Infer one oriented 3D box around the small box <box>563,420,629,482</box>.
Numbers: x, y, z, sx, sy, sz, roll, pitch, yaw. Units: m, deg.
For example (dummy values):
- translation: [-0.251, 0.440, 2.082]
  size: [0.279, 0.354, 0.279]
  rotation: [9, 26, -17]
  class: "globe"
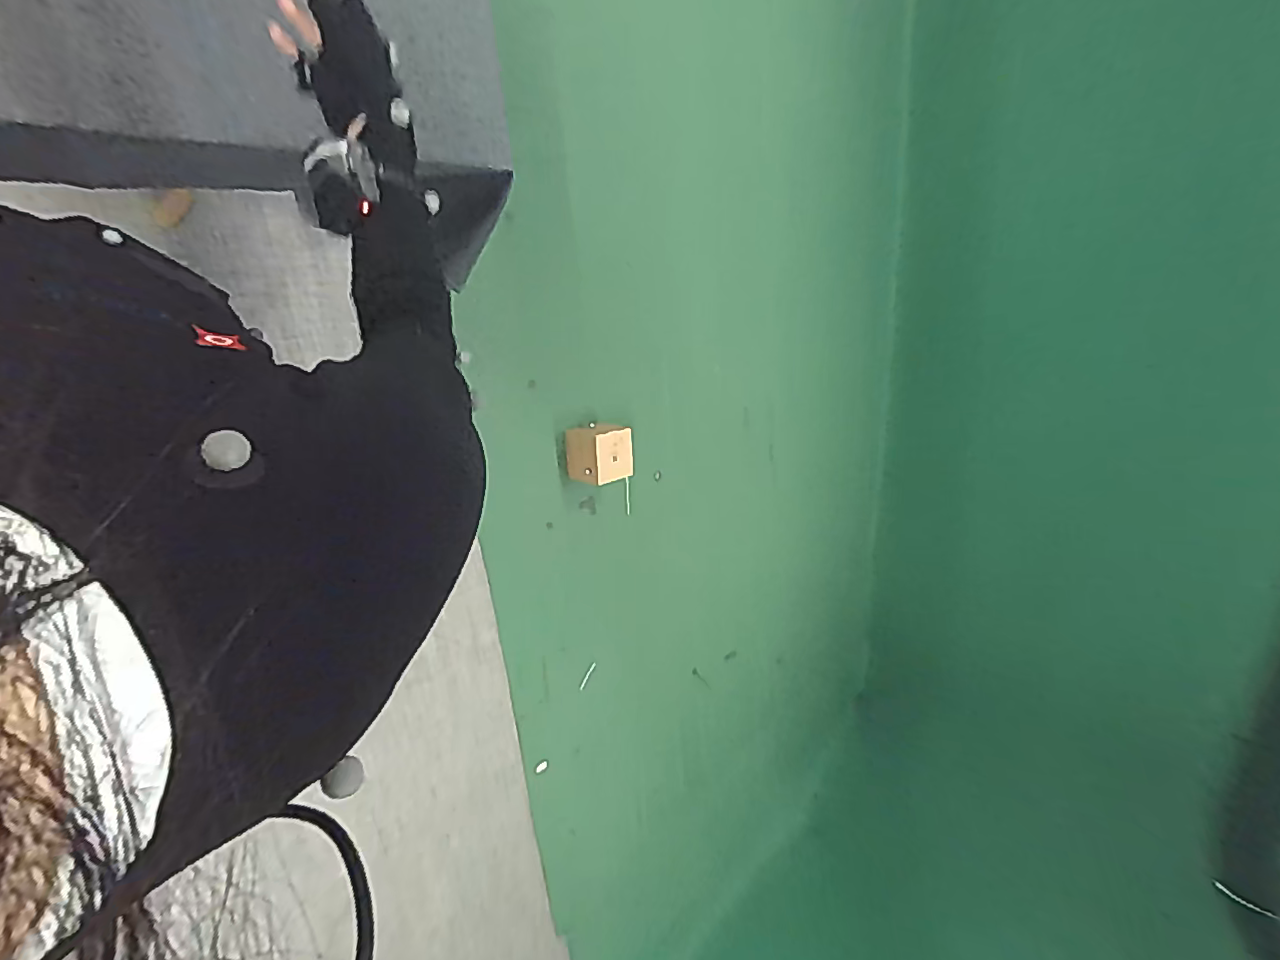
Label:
- translation: [-0.156, -0.108, 1.907]
  size: [0.168, 0.176, 0.179]
  rotation: [-18, 113, -43]
  class: "small box"
